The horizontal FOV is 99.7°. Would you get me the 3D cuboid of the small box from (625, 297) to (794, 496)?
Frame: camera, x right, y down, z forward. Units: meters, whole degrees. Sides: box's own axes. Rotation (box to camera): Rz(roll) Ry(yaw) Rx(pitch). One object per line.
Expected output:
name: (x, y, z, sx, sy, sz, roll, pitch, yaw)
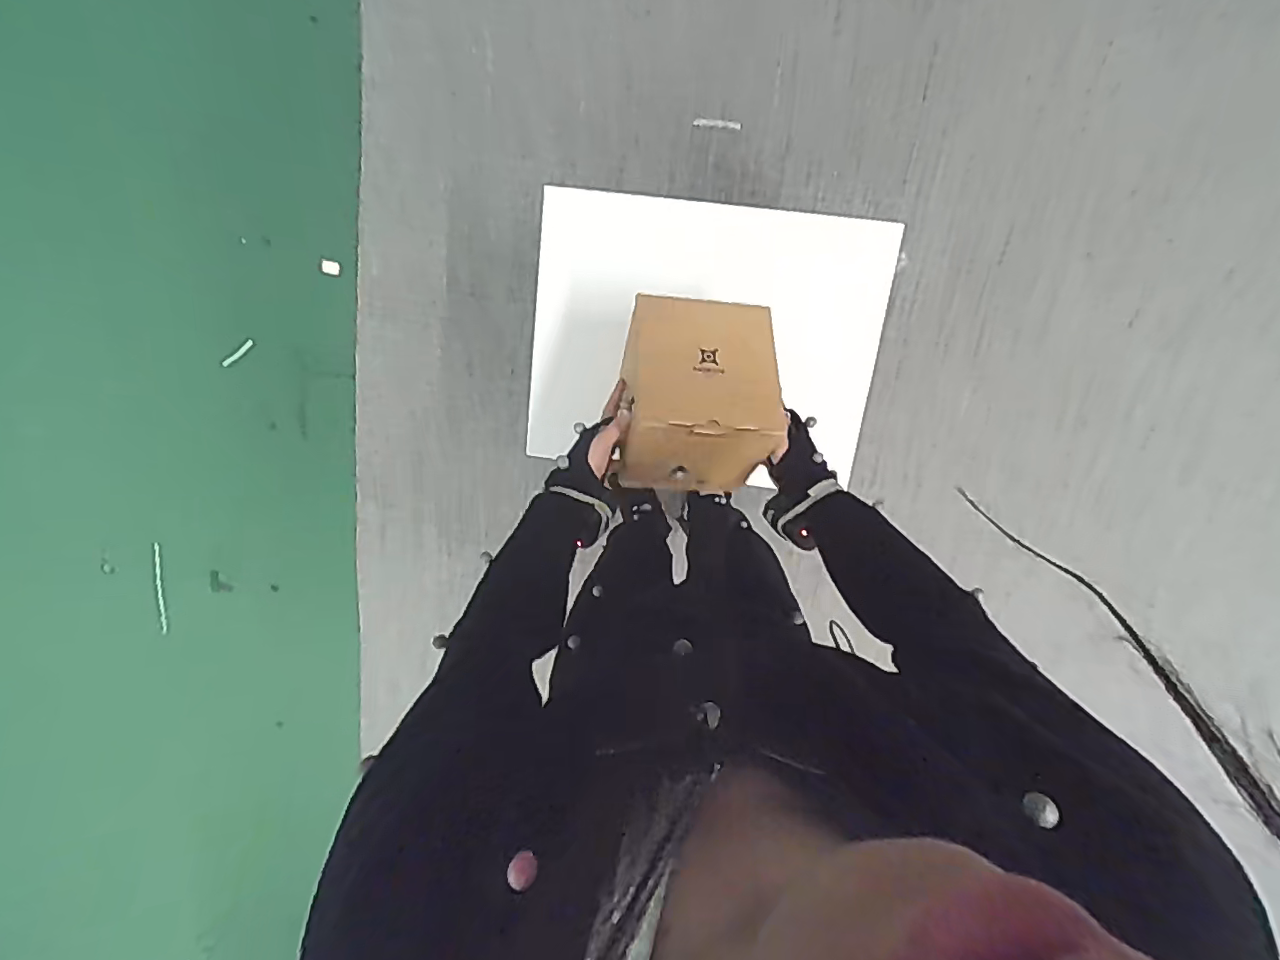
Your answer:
small box: (0.071, -0.096, 0.670, 0.168, 0.176, 0.179, 2, 64, -7)
